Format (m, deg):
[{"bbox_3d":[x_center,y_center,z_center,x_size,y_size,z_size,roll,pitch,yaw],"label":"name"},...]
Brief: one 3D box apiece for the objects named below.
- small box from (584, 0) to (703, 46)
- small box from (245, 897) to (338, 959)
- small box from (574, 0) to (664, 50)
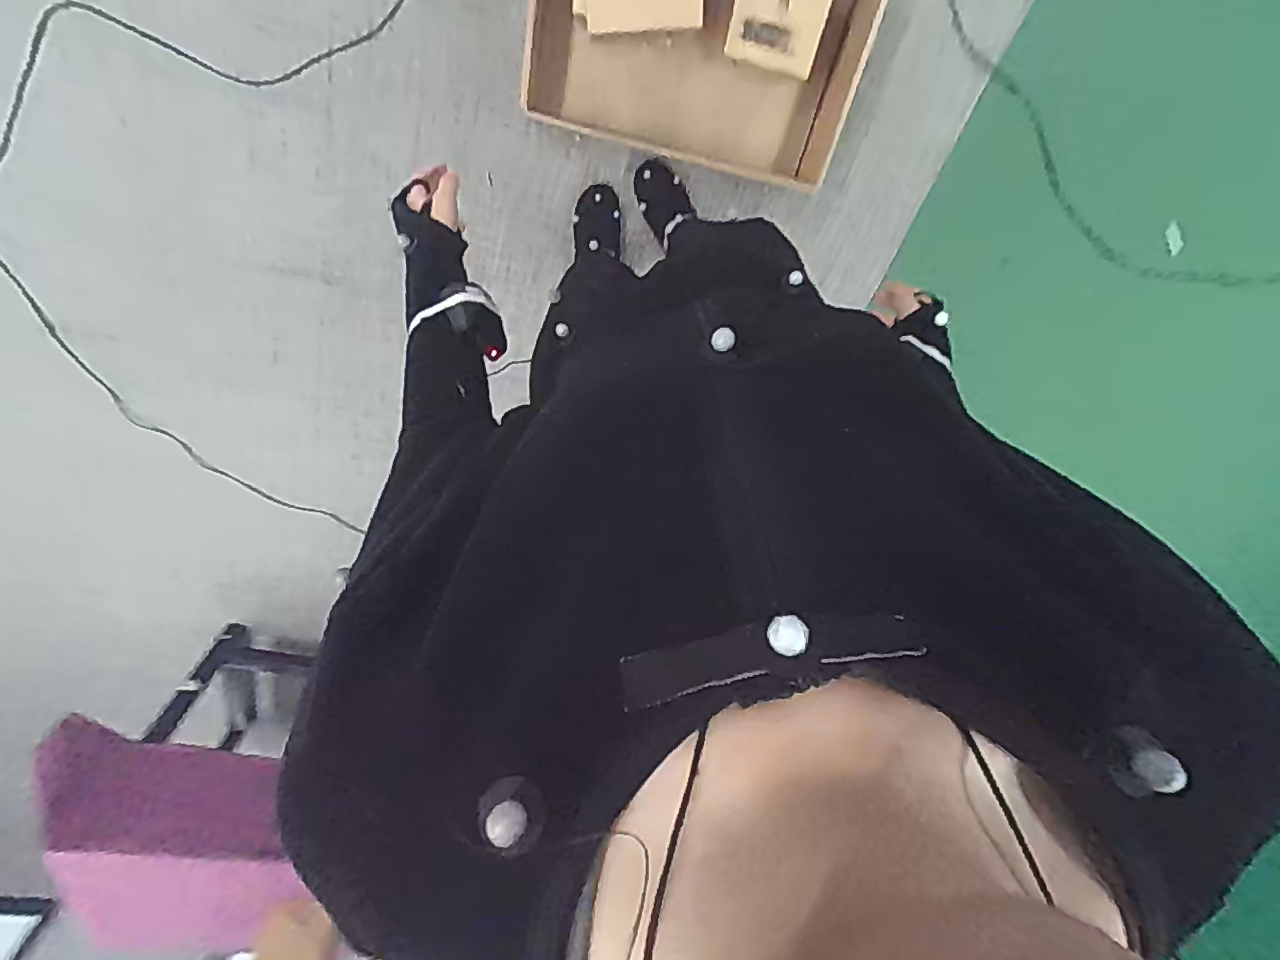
[{"bbox_3d":[-0.001,-0.785,0.834,0.179,0.176,0.168,-4,124,-2],"label":"small box"},{"bbox_3d":[-0.948,1.276,1.479,0.168,0.176,0.179,7,121,-9],"label":"small box"},{"bbox_3d":[-0.017,-0.890,0.958,0.179,0.176,0.168,9,123,-12],"label":"small box"}]
